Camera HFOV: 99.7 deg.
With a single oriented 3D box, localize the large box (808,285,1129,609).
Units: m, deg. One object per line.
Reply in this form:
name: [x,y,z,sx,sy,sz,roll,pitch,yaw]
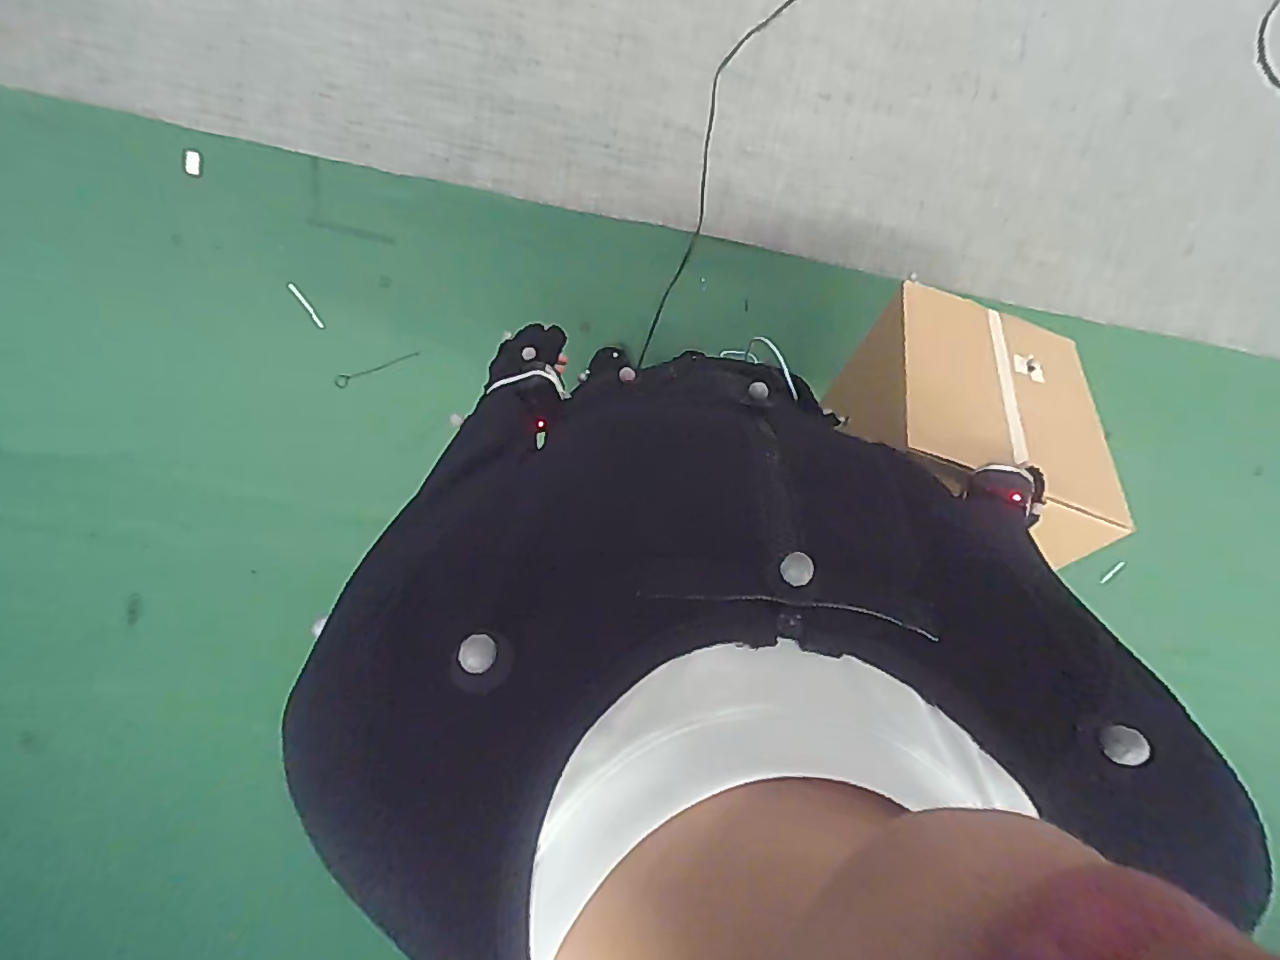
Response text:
large box: [0.509,-0.053,0.931,0.320,0.408,0.320,21,143,-1]
